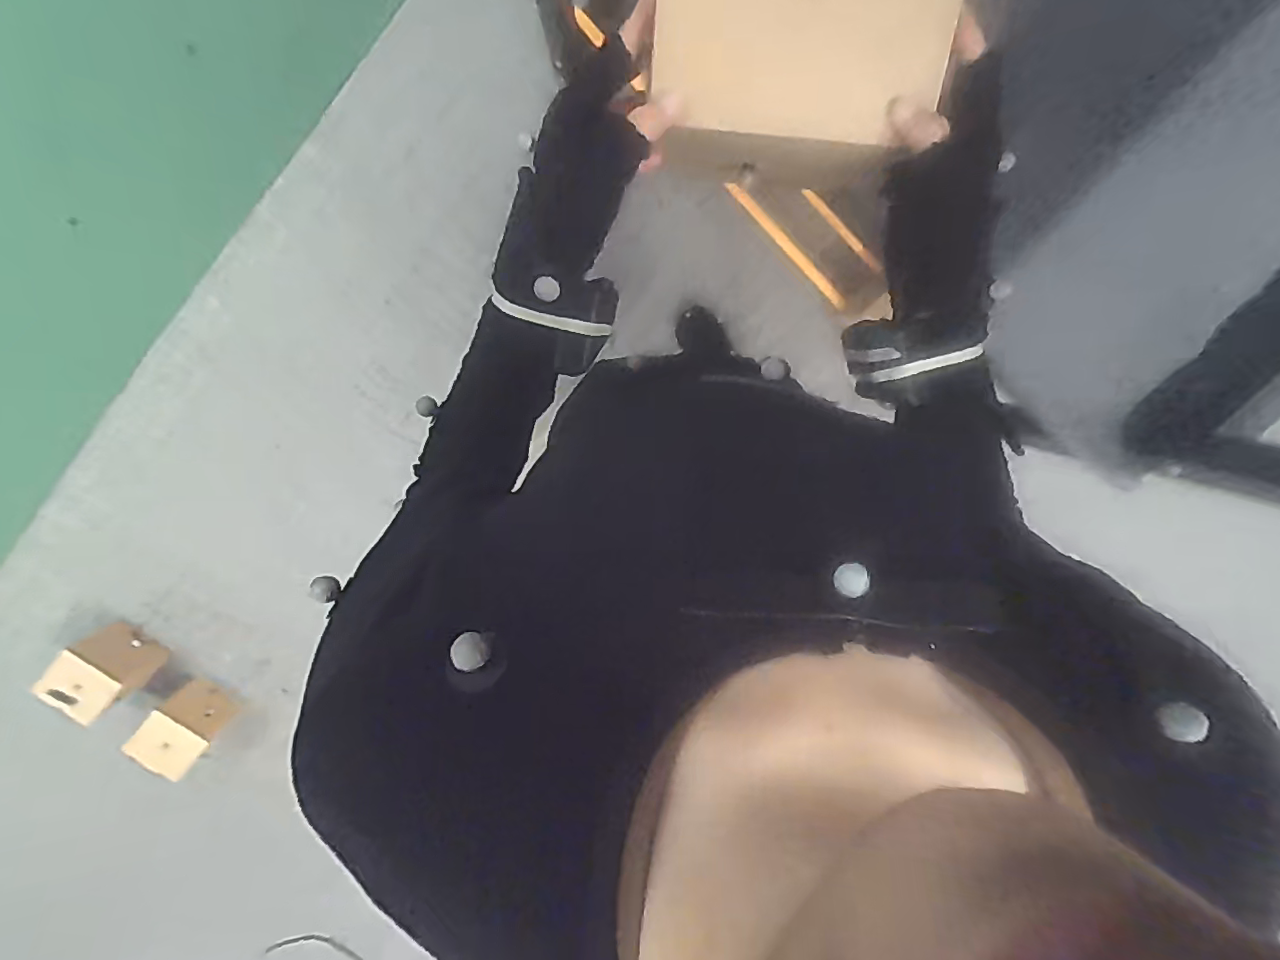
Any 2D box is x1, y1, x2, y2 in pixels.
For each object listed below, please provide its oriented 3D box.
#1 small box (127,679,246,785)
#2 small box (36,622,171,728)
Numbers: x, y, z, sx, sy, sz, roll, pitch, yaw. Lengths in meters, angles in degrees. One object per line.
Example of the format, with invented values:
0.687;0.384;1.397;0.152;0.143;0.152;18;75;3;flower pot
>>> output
-1.279;0.710;1.543;0.168;0.176;0.179;41;100;-11;small box
-1.466;0.532;1.492;0.168;0.176;0.179;42;98;-11;small box
